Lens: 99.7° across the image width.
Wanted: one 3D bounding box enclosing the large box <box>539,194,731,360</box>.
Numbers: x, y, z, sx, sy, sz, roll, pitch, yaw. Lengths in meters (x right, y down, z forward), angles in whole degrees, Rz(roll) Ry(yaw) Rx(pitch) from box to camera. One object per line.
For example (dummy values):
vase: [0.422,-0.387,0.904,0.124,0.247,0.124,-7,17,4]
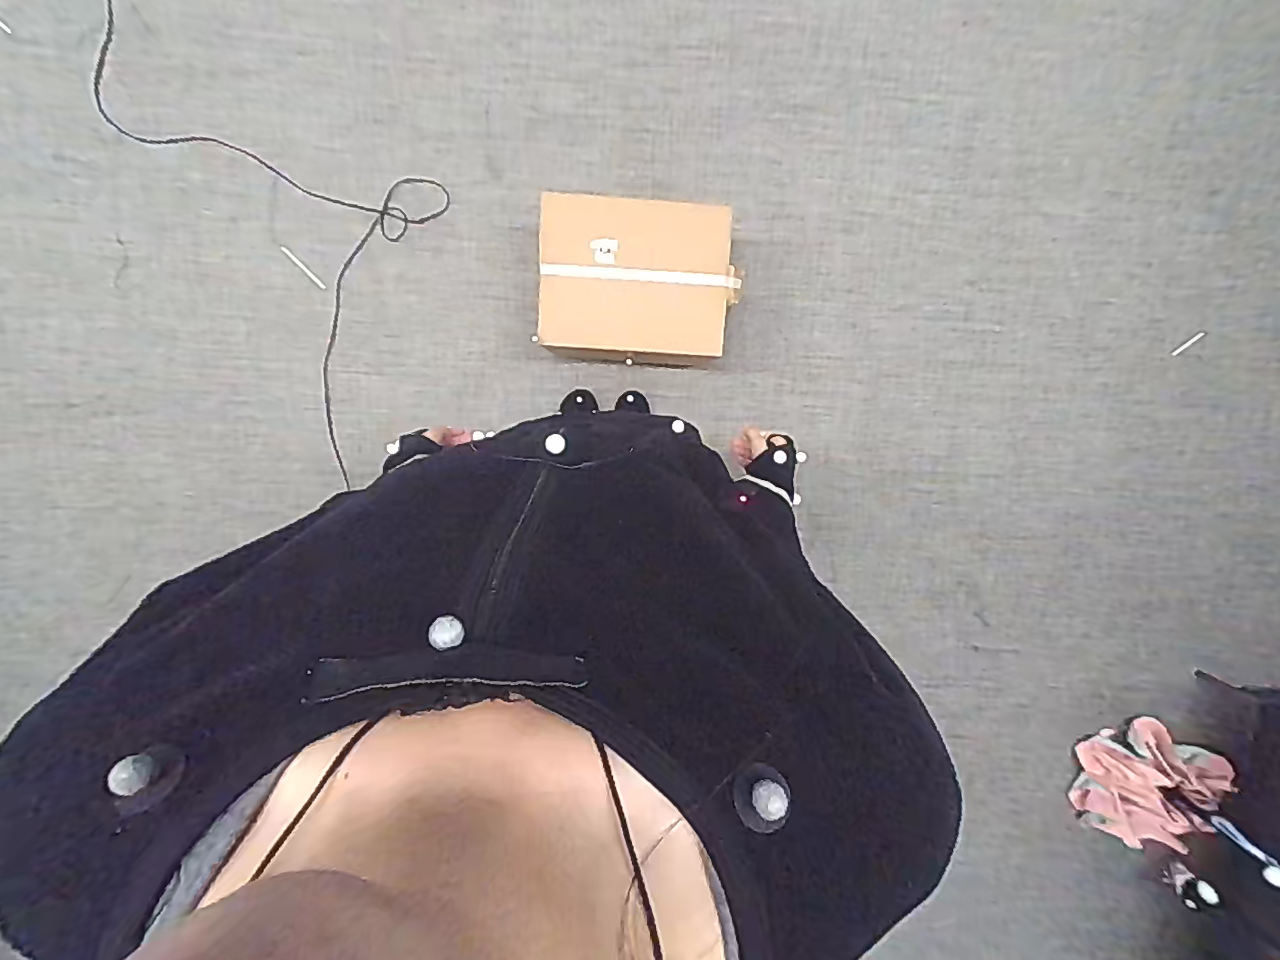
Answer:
large box: [-0.014,-0.461,1.304,0.408,0.320,0.320,4,98,-2]
